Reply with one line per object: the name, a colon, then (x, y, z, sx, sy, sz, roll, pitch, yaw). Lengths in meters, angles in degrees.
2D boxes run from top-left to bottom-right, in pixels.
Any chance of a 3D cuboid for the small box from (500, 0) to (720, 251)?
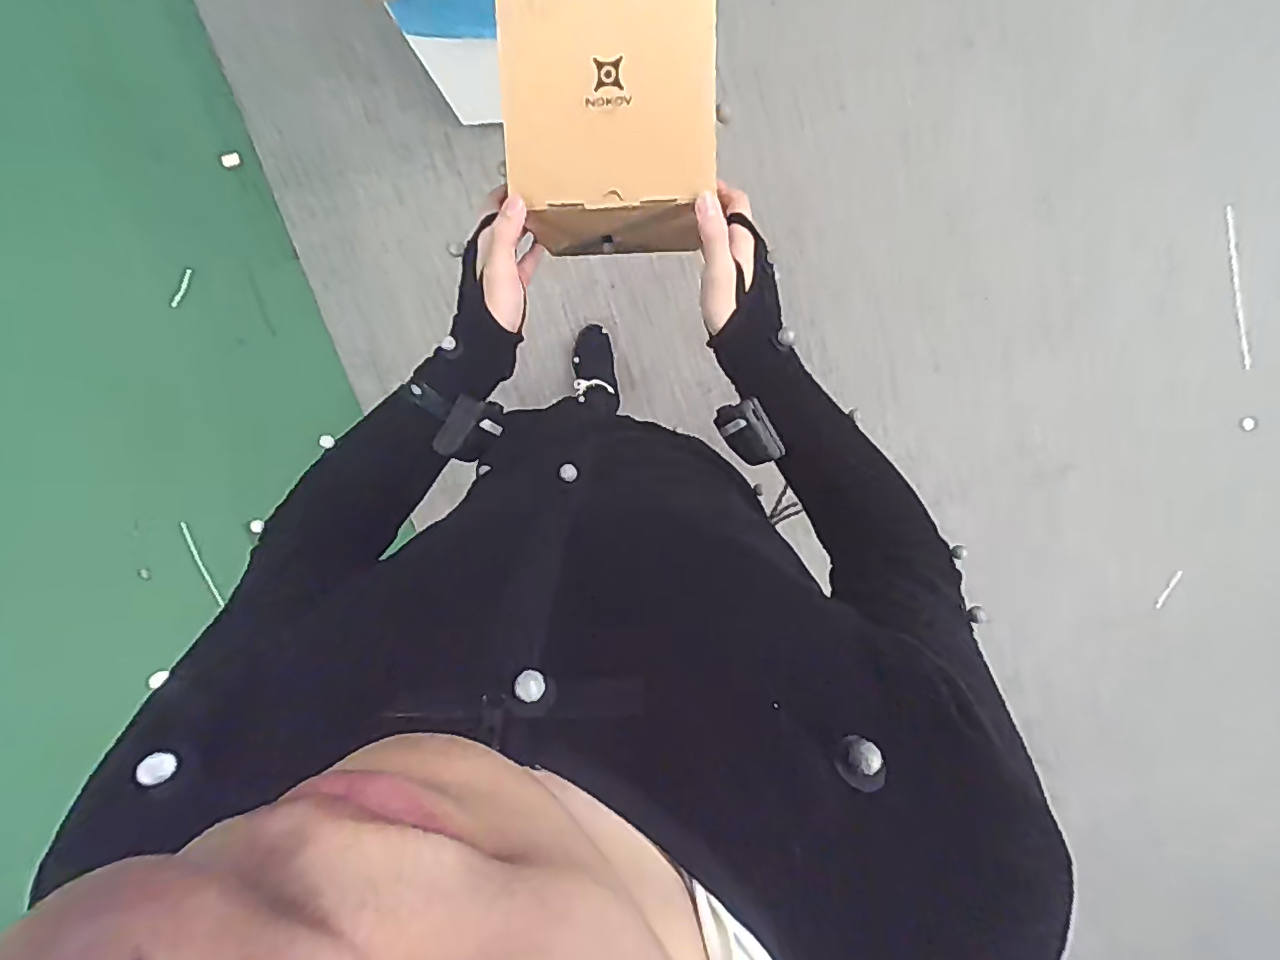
small box: (-0.020, -0.318, 0.486, 0.168, 0.176, 0.179, -1, 102, 2)
